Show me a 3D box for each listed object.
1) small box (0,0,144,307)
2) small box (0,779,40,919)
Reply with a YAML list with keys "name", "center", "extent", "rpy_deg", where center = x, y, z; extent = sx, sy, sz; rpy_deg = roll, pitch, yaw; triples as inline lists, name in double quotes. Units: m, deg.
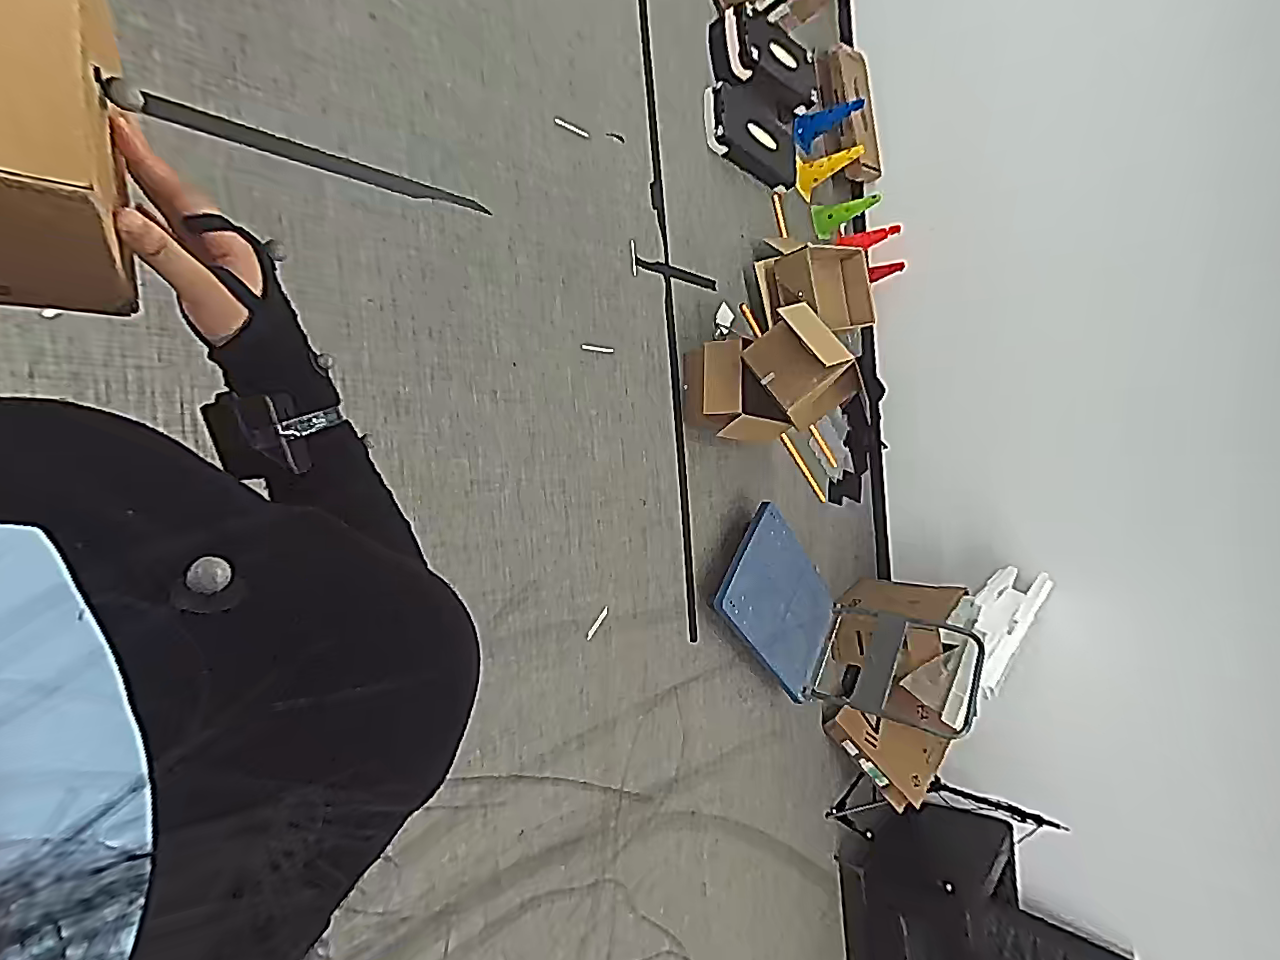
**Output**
- name: "small box"
  center: [-0.369, -0.210, 0.270]
  extent: [0.168, 0.176, 0.179]
  rpy_deg: [-4, 87, -39]
- name: "small box"
  center: [-1.132, 0.628, 0.899]
  extent: [0.168, 0.176, 0.179]
  rpy_deg: [0, 88, -44]
